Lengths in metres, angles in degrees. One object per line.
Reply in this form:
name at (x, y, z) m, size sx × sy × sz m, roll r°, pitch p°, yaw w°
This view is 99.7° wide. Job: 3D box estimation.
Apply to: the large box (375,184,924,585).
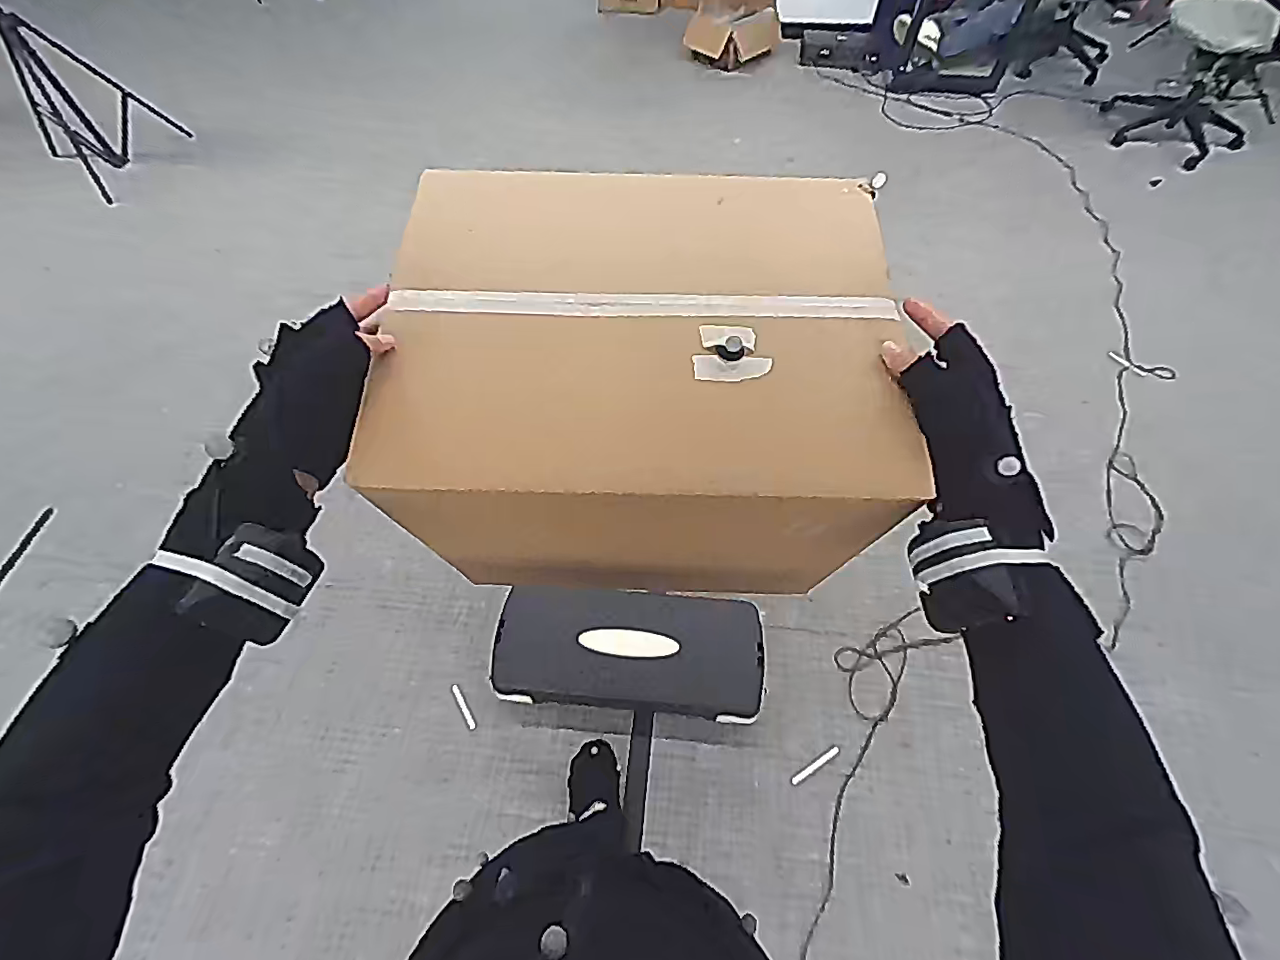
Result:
large box at (0.005, -0.073, 0.580) m, size 0.408 × 0.320 × 0.320 m, roll 2°, pitch 67°, yaw -1°
